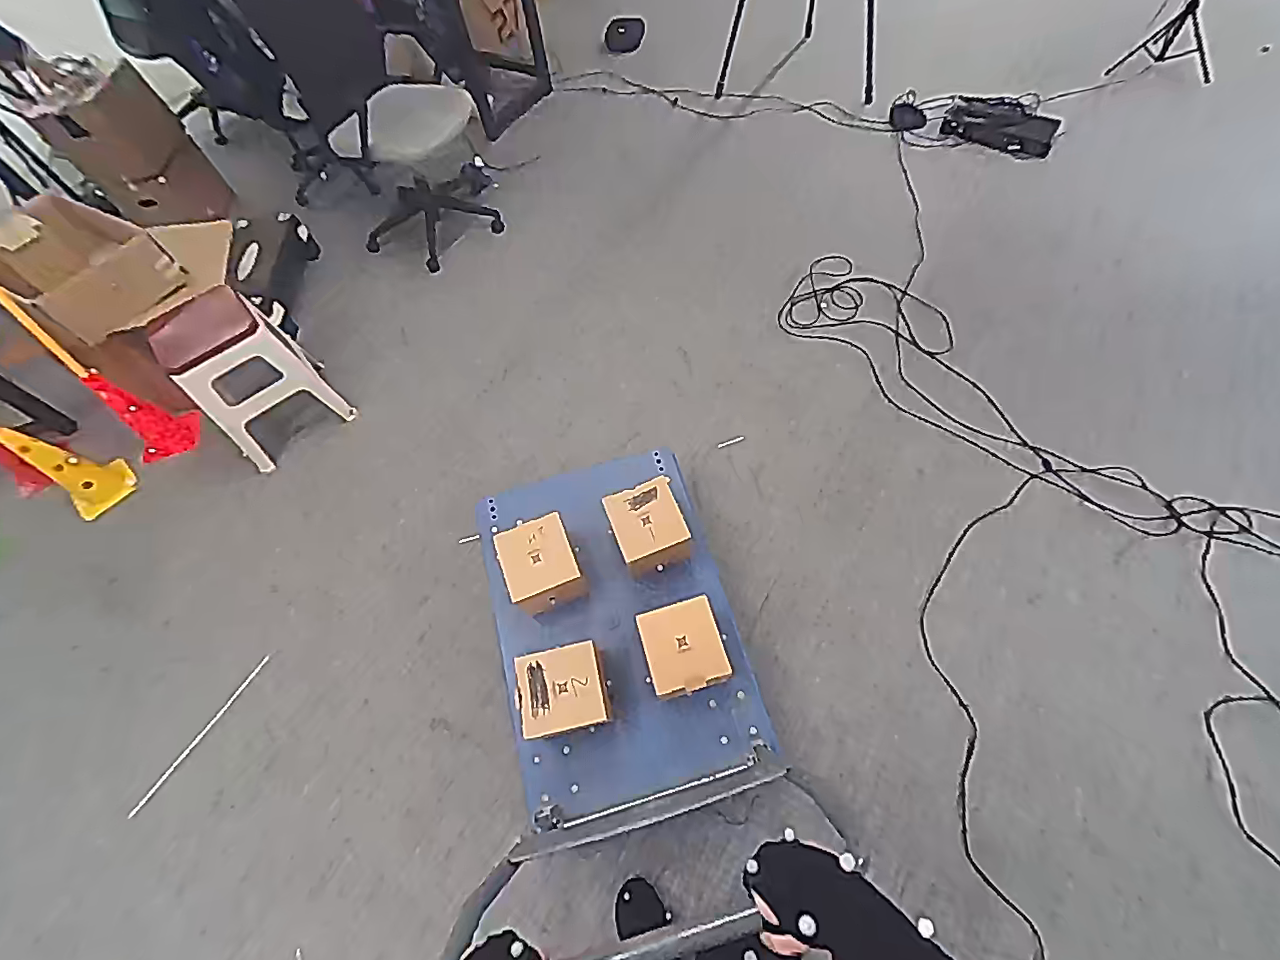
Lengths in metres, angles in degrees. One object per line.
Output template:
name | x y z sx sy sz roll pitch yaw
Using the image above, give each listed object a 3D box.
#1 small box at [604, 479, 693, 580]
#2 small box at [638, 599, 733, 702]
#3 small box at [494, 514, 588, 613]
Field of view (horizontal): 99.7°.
small box | 0.021 0.128 1.342 0.168 0.176 0.179 -20 67 -5
small box | 0.097 0.390 1.223 0.168 0.176 0.179 -16 67 -4
small box | -0.235 0.212 1.319 0.168 0.176 0.179 -20 67 -6
